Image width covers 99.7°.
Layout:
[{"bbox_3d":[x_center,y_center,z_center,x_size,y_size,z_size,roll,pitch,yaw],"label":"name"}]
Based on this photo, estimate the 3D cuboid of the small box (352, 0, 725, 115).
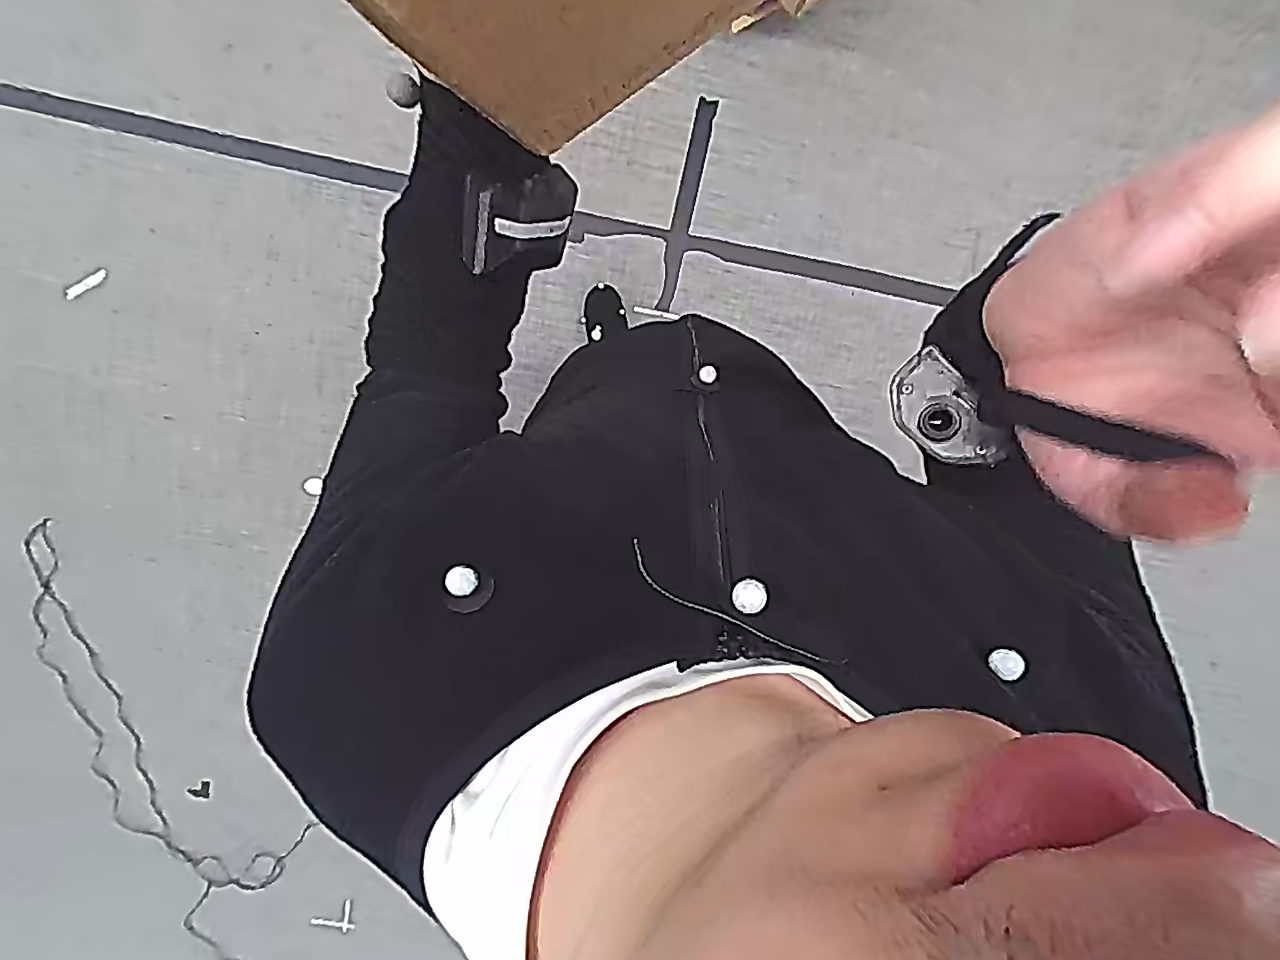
[{"bbox_3d":[-0.021,-0.217,0.118,0.168,0.176,0.179,-29,109,12],"label":"small box"}]
